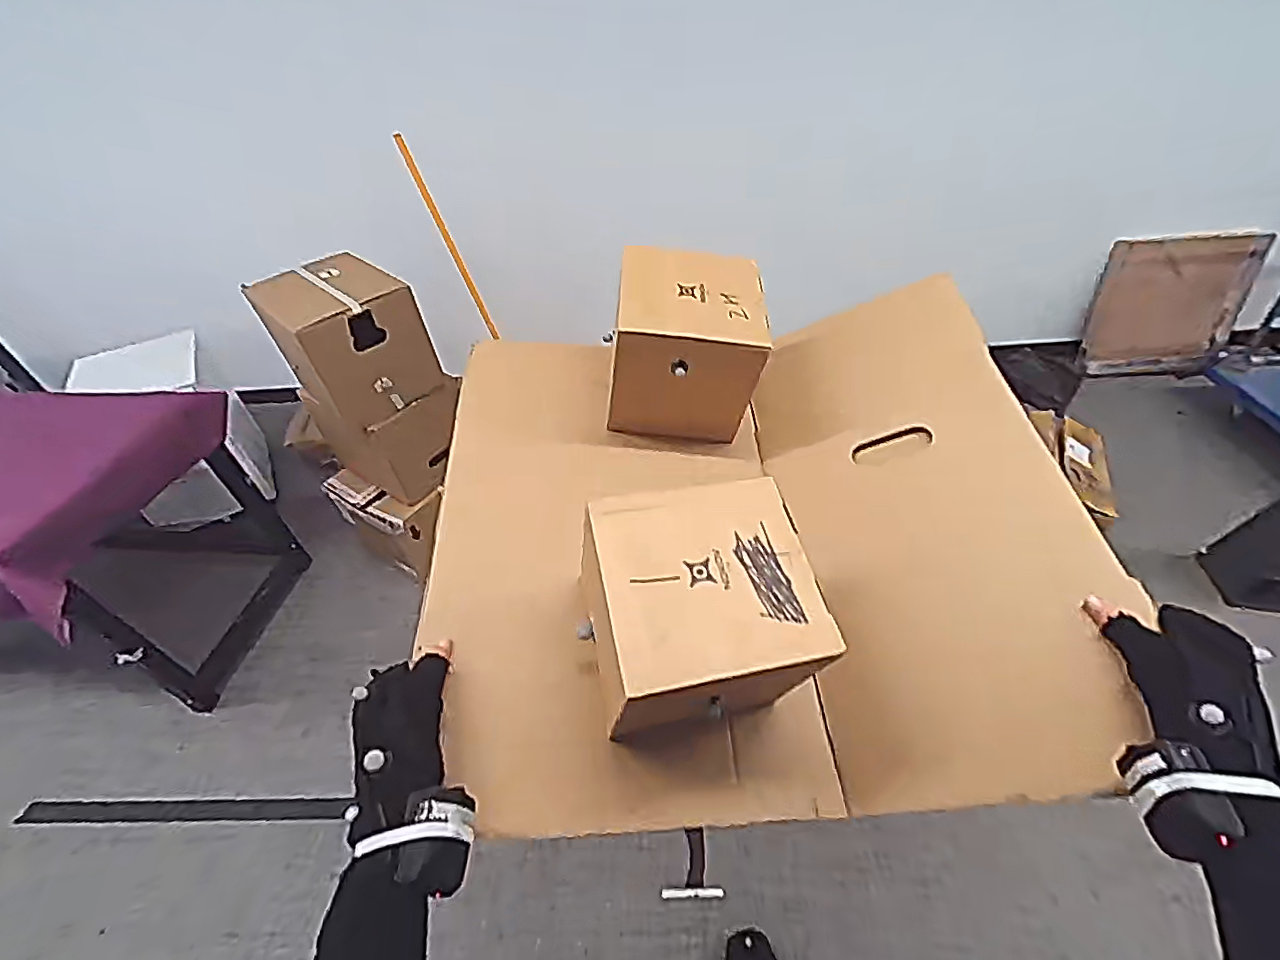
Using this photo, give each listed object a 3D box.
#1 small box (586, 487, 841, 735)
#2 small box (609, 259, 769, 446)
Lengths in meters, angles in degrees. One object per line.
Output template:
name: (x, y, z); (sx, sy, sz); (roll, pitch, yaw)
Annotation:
small box: (0.049, 0.126, 0.511); (0.179, 0.176, 0.168); (-7, 57, -12)
small box: (0.054, -0.162, 0.714); (0.179, 0.176, 0.168); (6, 55, -5)
